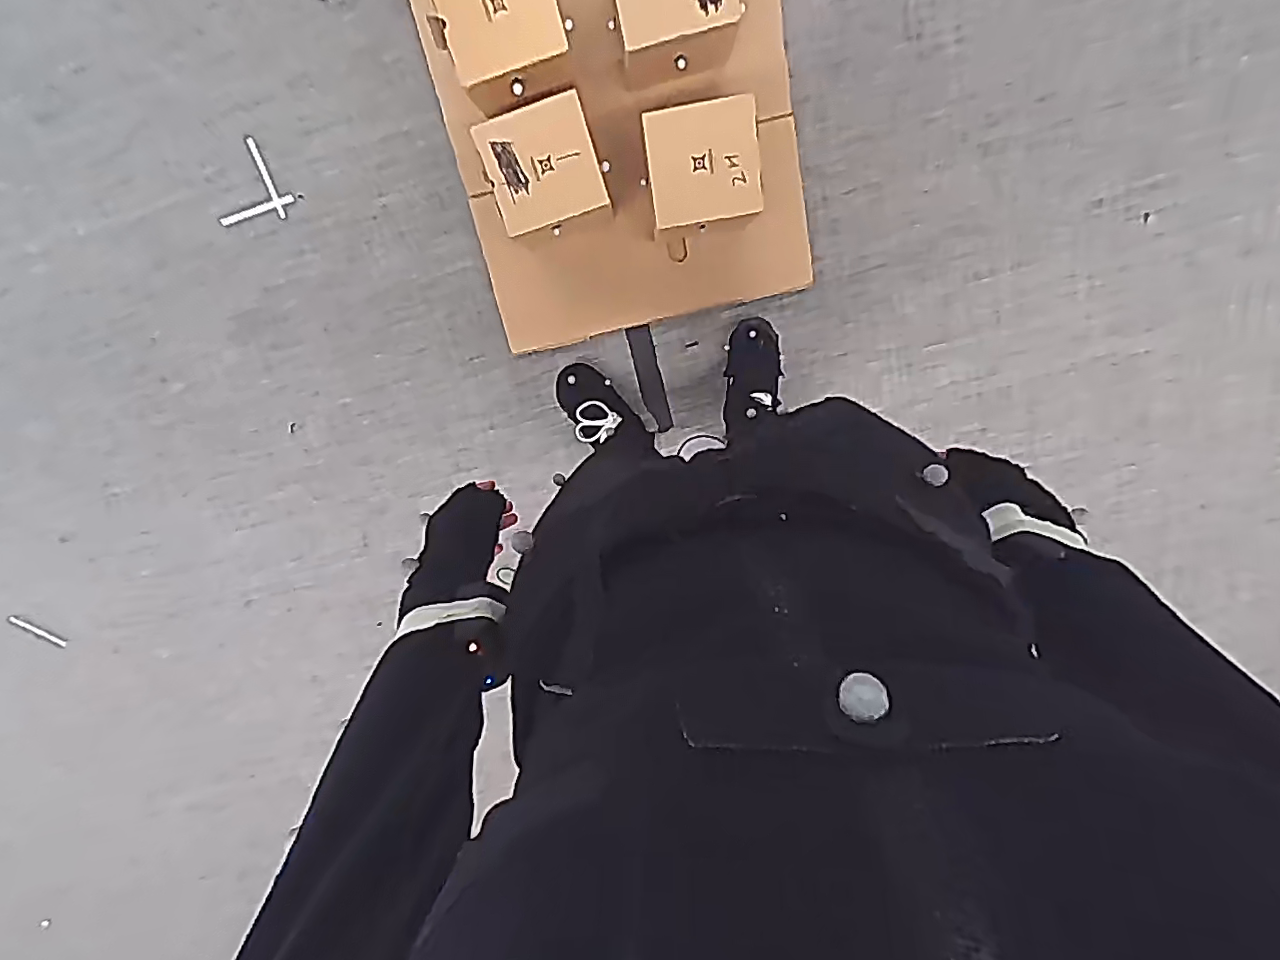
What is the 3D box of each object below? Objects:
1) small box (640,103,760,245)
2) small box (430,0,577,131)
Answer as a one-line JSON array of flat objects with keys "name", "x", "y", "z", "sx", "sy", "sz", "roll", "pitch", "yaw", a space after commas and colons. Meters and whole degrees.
[{"name": "small box", "x": 0.099, "y": -0.510, "z": 0.927, "sx": 0.179, "sy": 0.176, "sz": 0.168, "roll": -8, "pitch": 107, "yaw": 3}, {"name": "small box", "x": -0.207, "y": -0.699, "z": 0.870, "sx": 0.179, "sy": 0.176, "sz": 0.168, "roll": -16, "pitch": 106, "yaw": 6}]
